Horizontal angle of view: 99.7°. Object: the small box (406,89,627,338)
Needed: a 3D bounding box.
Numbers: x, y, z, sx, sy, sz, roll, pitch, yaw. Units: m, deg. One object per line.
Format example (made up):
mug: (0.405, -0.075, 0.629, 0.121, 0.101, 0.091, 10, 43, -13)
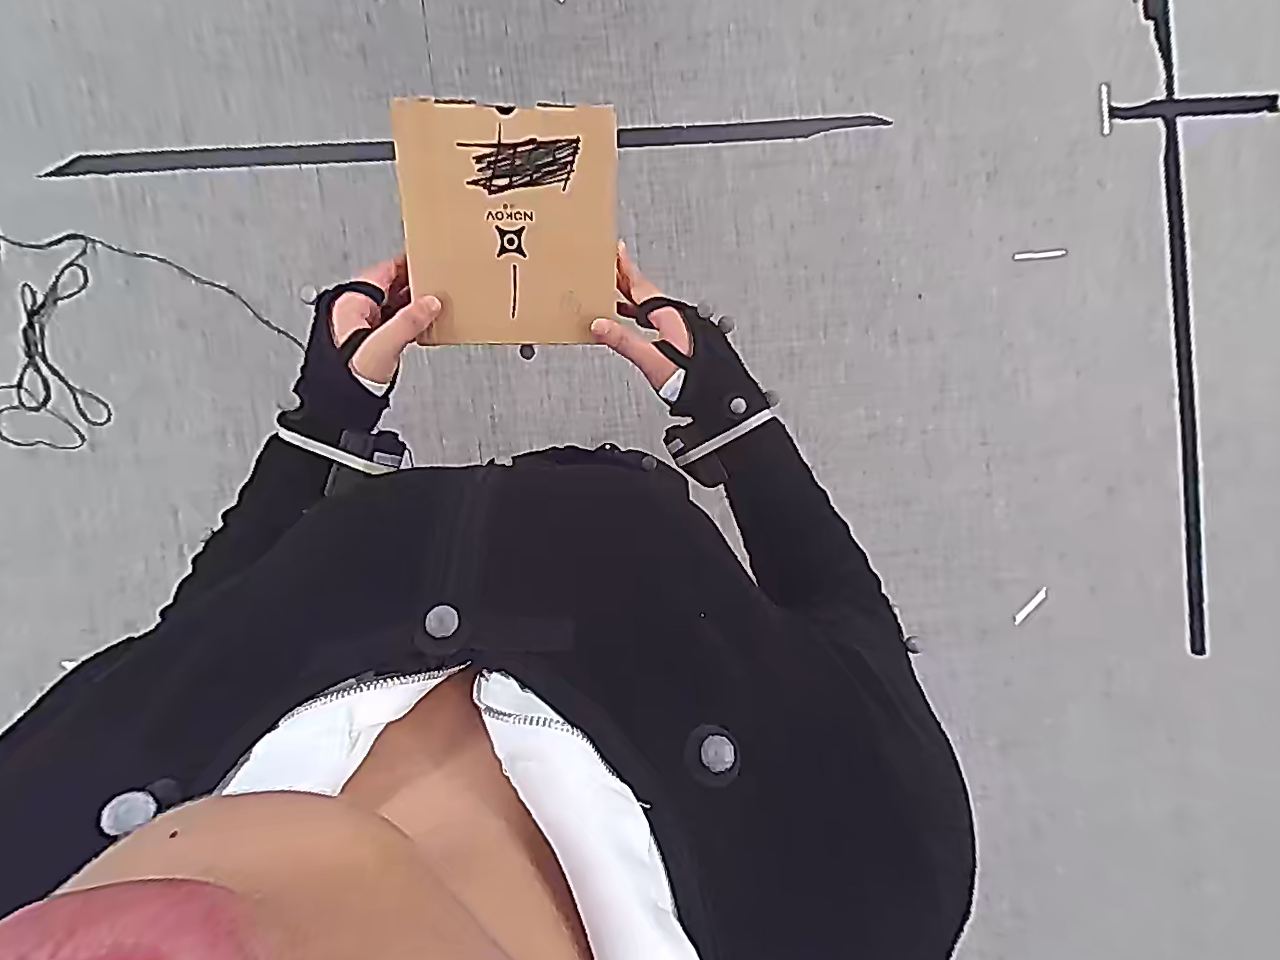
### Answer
small box: (-0.101, -0.224, 0.501, 0.168, 0.176, 0.179, -1, 106, -5)
